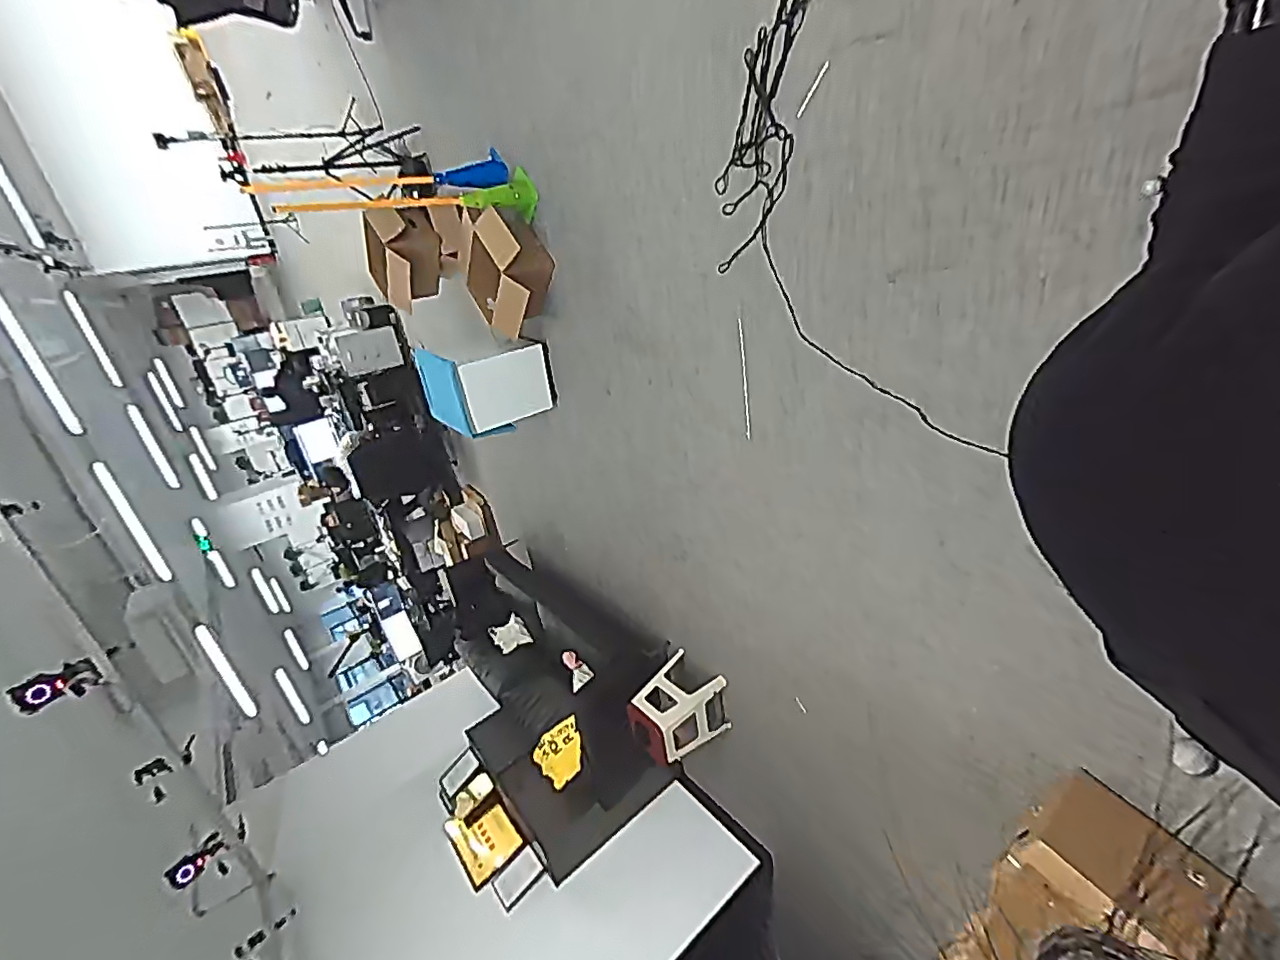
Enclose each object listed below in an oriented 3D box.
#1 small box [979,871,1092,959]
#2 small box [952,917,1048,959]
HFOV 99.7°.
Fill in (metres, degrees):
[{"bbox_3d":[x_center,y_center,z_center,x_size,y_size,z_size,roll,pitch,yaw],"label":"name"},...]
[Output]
[{"bbox_3d":[1.055,1.200,1.447,0.168,0.176,0.179,40,142,35],"label":"small box"},{"bbox_3d":[0.924,1.256,1.370,0.179,0.176,0.168,41,142,33],"label":"small box"}]
